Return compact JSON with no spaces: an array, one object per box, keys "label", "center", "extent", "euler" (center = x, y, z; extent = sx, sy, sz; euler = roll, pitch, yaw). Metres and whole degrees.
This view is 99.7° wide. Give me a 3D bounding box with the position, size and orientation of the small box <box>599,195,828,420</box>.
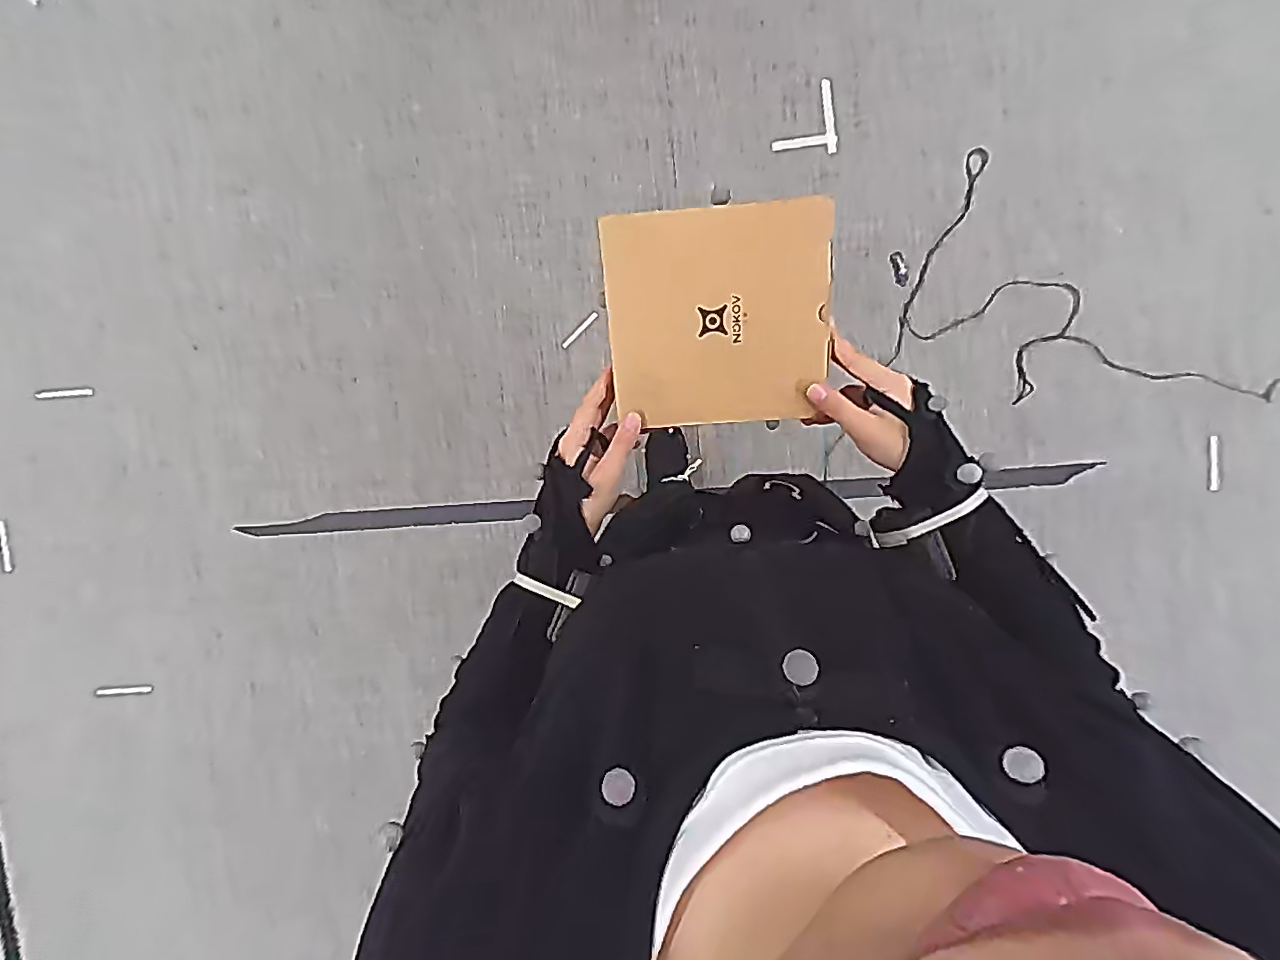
[{"label":"small box","center":[0.064,-0.157,0.509],"extent":[0.179,0.176,0.168],"euler":[-4,109,3]}]
